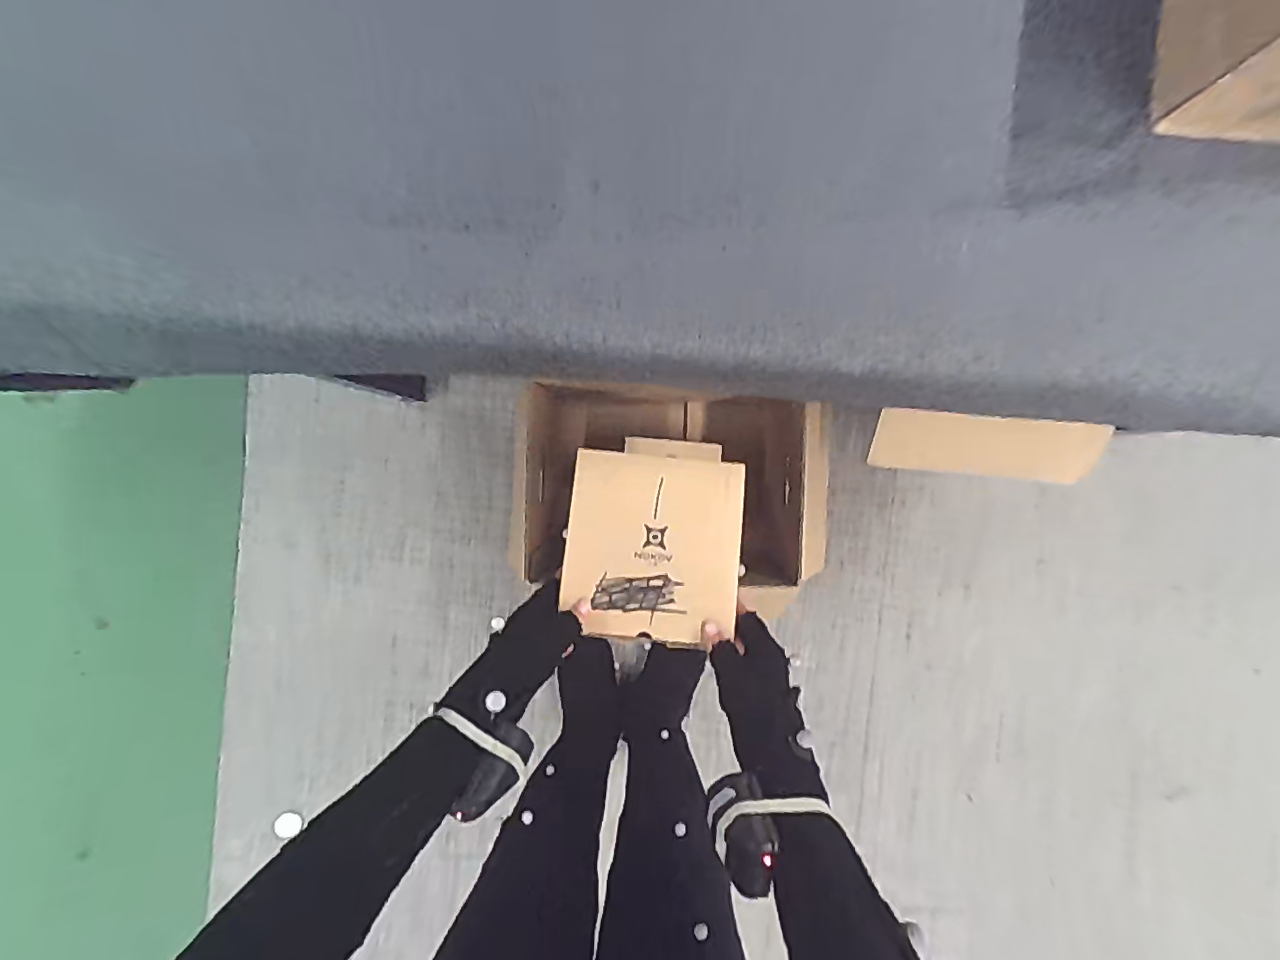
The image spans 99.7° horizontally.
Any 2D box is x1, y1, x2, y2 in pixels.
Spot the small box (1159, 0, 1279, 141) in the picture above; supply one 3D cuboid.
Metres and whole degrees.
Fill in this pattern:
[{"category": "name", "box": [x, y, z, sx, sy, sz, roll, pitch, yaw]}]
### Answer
[{"category": "small box", "box": [0.419, -0.305, 0.268, 0.168, 0.176, 0.179, 6, 92, 2]}]
